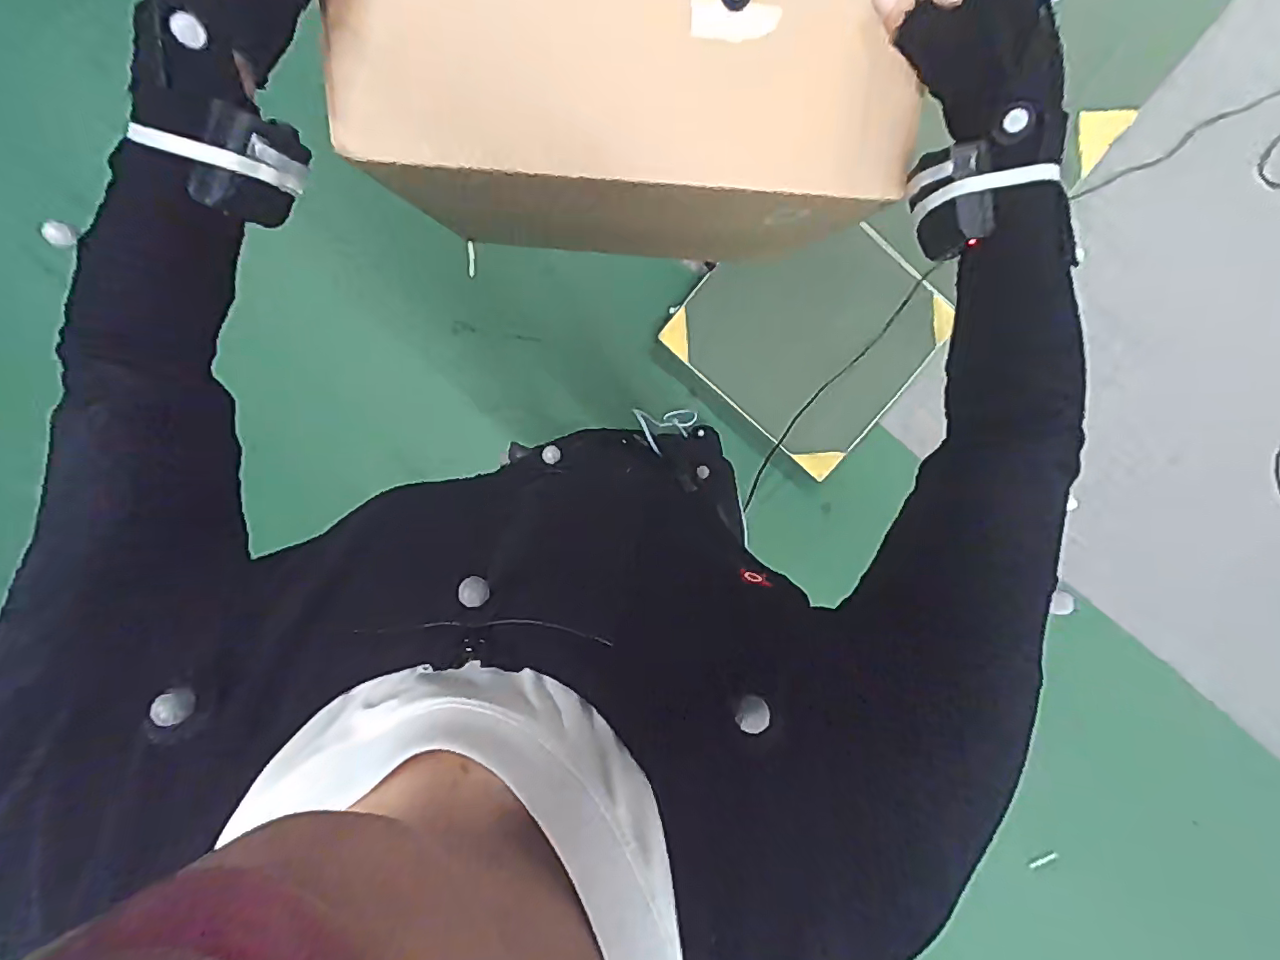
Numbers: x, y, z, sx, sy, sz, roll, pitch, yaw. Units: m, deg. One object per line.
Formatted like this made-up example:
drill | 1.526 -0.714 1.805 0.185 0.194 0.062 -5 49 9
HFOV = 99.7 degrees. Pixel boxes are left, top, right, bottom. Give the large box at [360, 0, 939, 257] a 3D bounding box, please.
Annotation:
large box | 0.005 -0.406 0.503 0.408 0.320 0.320 3 104 -3
